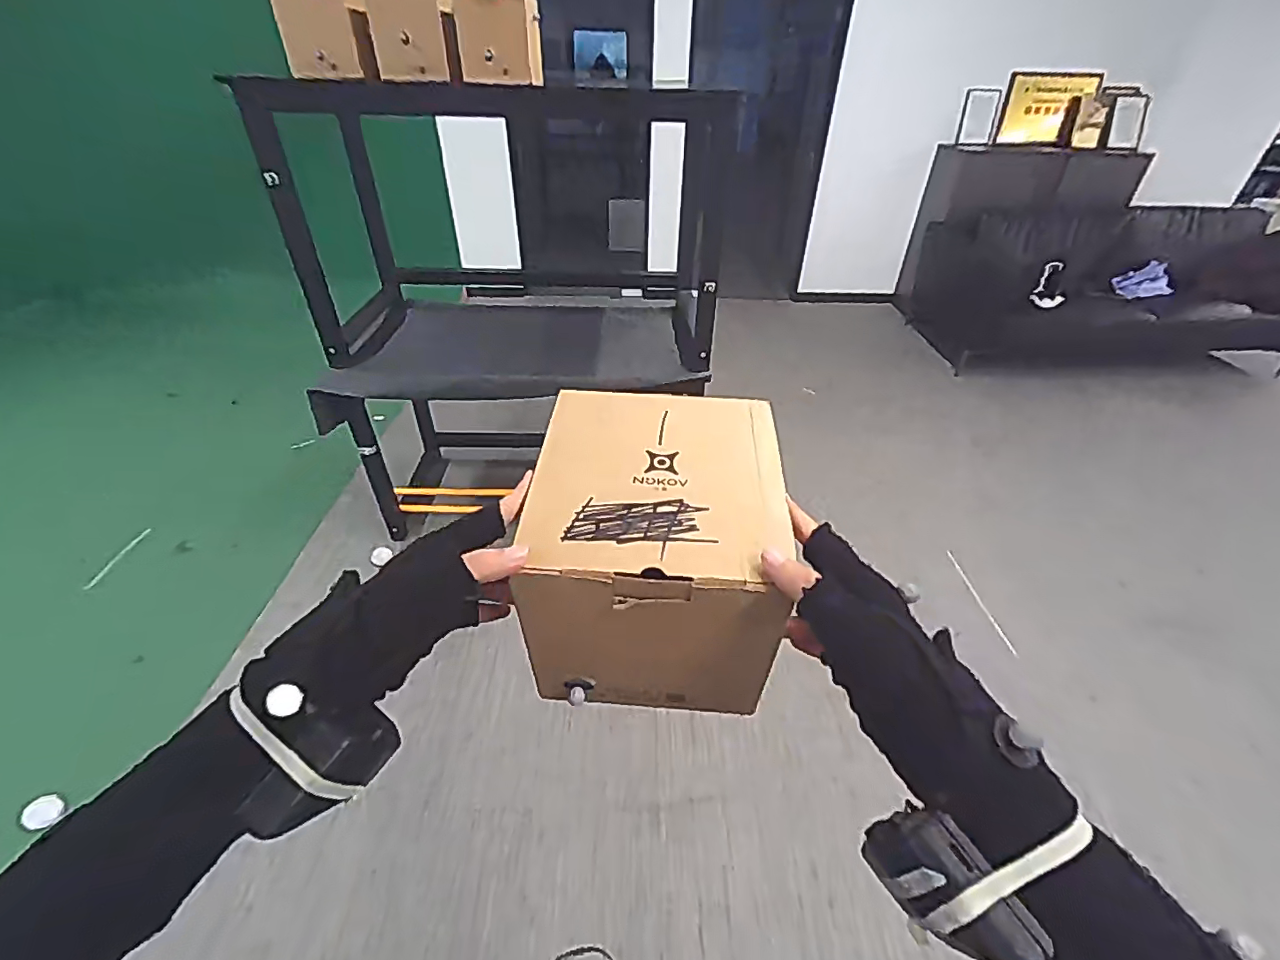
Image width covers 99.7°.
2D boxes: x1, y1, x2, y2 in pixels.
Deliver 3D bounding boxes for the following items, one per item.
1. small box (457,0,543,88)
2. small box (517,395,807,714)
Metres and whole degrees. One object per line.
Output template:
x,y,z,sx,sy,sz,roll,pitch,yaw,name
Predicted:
-0.330,-1.059,1.304,0.168,0.176,0.179,1,38,-1,small box
0.017,0.056,0.411,0.168,0.176,0.179,4,43,2,small box
